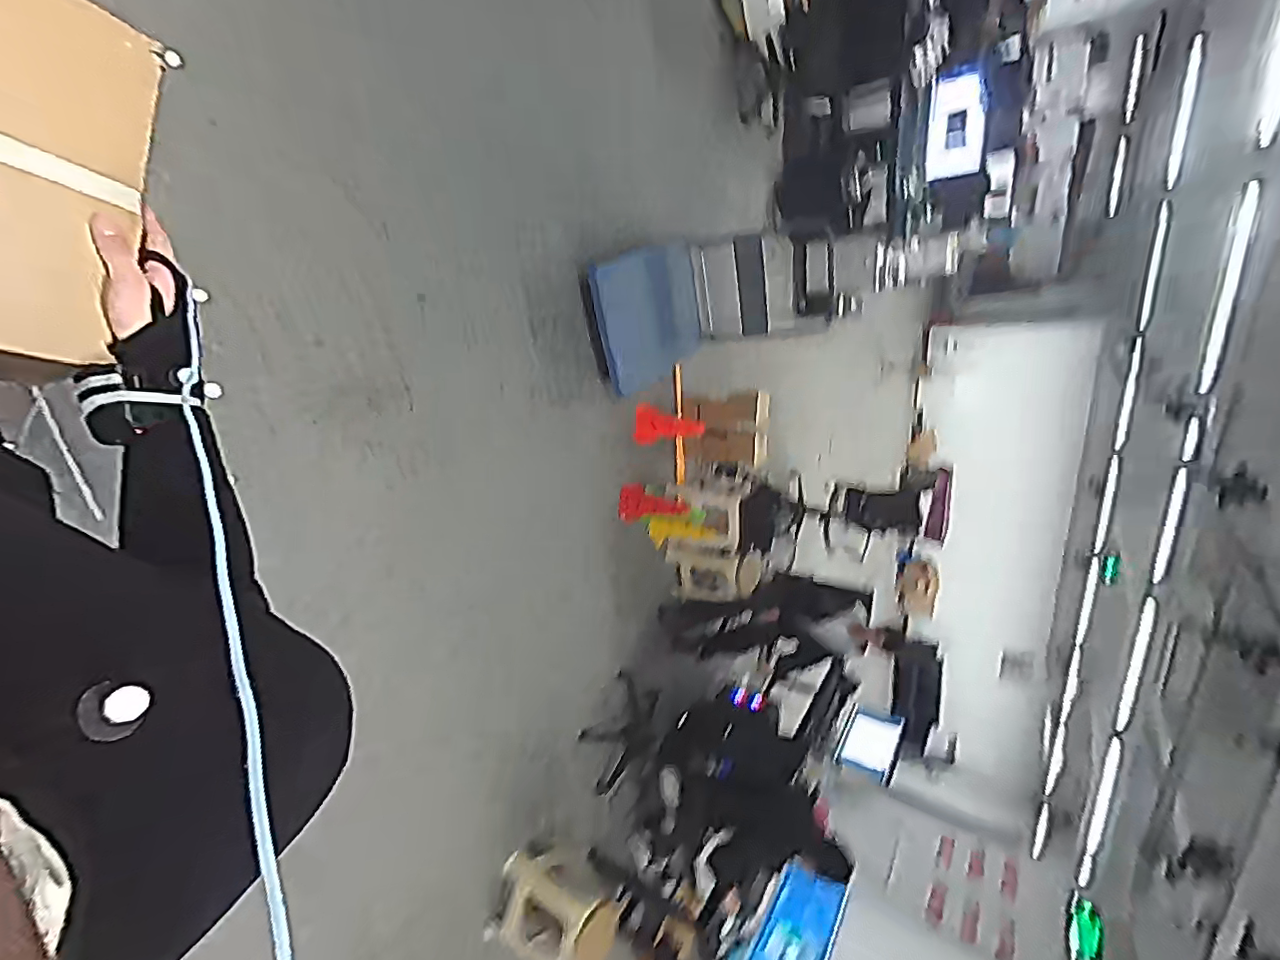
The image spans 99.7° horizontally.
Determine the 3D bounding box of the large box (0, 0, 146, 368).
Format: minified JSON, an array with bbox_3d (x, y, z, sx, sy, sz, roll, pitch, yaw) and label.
[{"bbox_3d":[-0.705,-0.289,0.413,0.408,0.320,0.320,7,87,-59],"label":"large box"}]
